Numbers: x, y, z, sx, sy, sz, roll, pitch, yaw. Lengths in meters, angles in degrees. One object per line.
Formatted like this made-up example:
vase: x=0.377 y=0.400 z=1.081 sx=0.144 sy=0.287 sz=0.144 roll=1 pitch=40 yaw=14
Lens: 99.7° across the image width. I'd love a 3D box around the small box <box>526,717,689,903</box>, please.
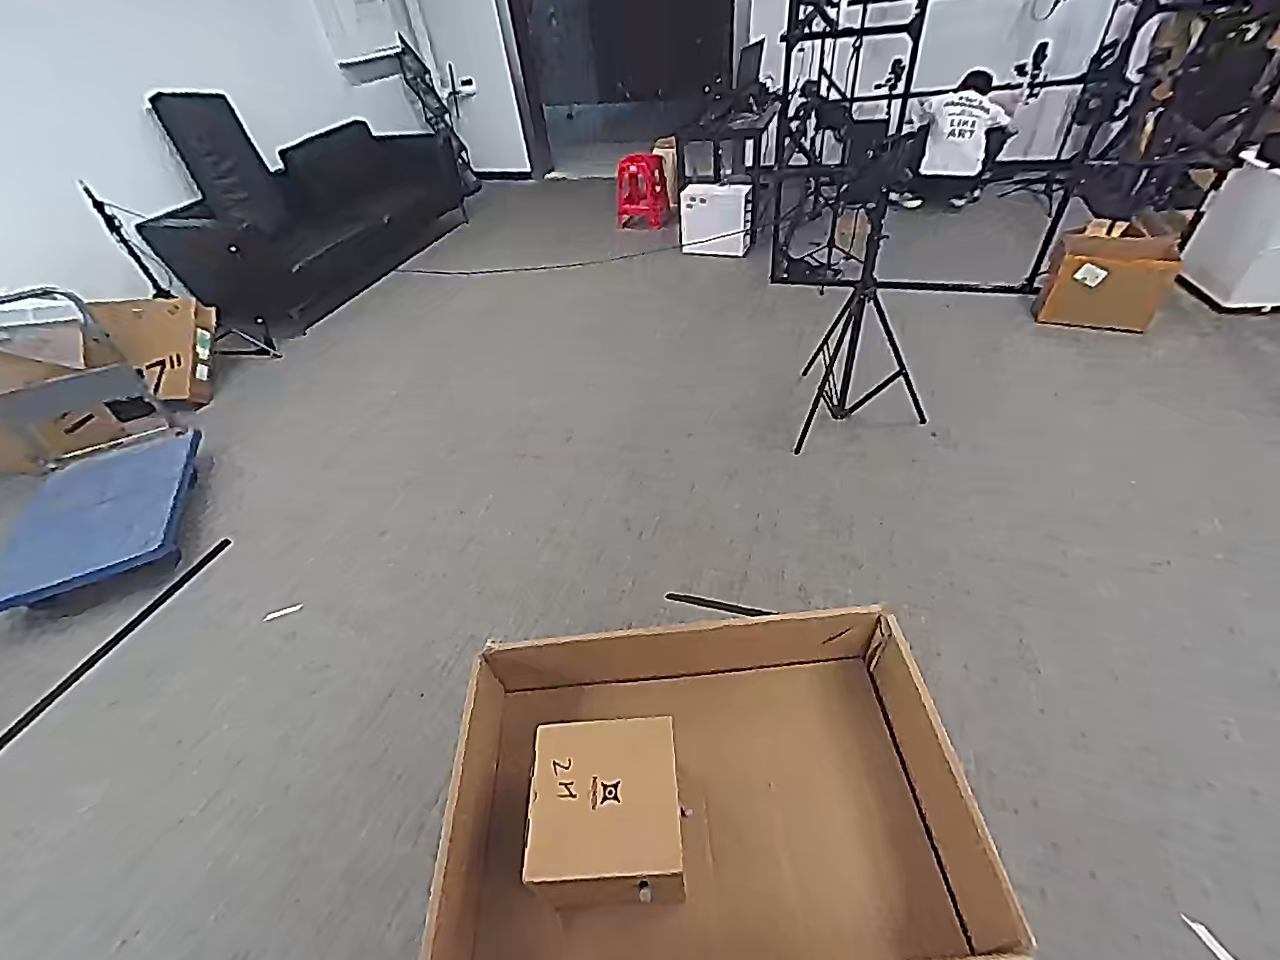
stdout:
small box: x=-0.031 y=0.420 z=0.686 sx=0.179 sy=0.176 sz=0.168 roll=-5 pitch=44 yaw=3
